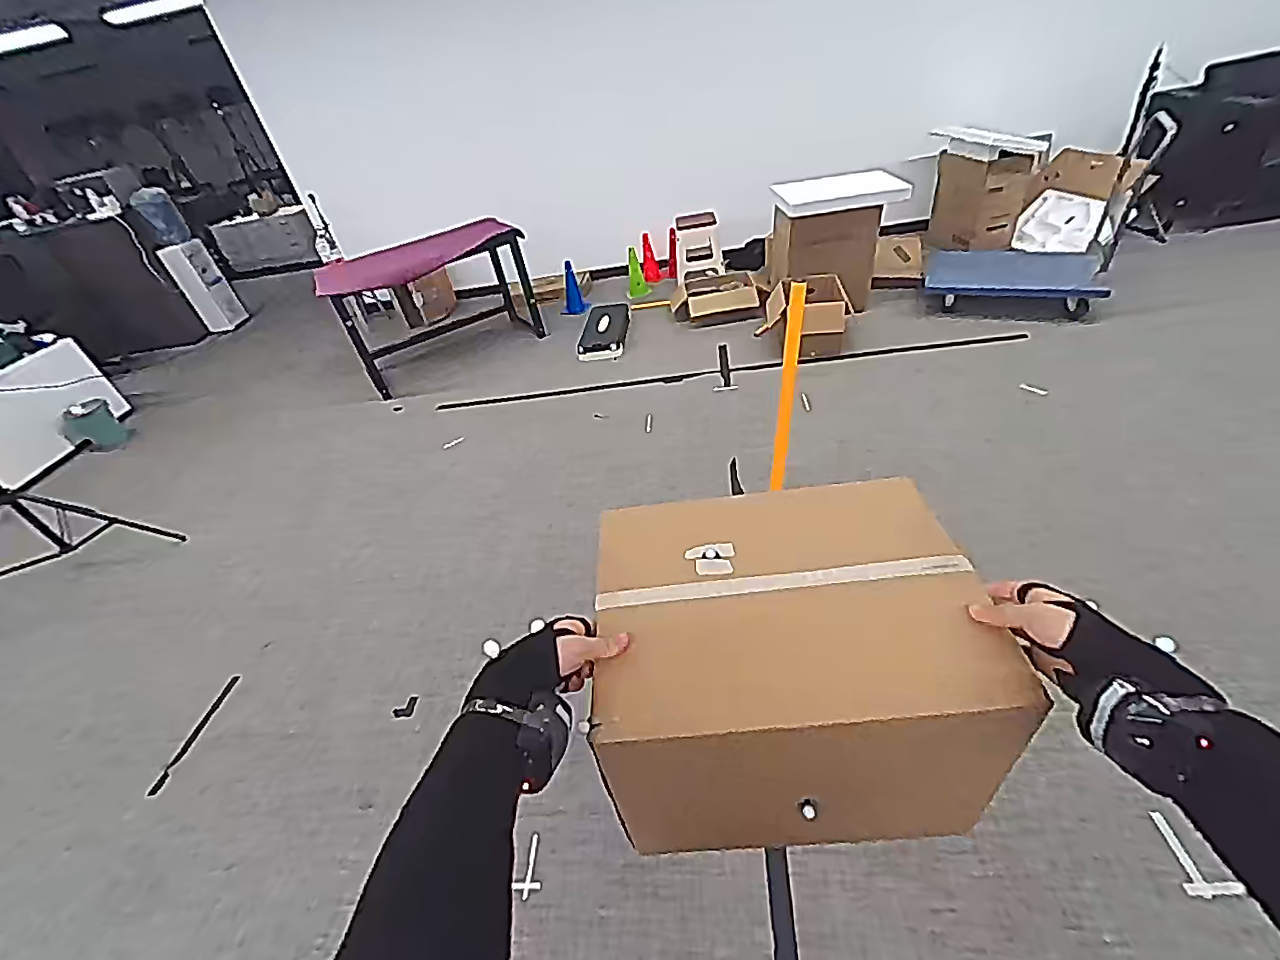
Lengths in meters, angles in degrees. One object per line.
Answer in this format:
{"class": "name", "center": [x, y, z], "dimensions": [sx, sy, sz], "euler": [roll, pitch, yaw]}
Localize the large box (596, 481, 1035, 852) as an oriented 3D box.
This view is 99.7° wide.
{"class": "large box", "center": [0.175, 0.239, 0.695], "dimensions": [0.408, 0.320, 0.320], "euler": [-8, 38, 5]}
